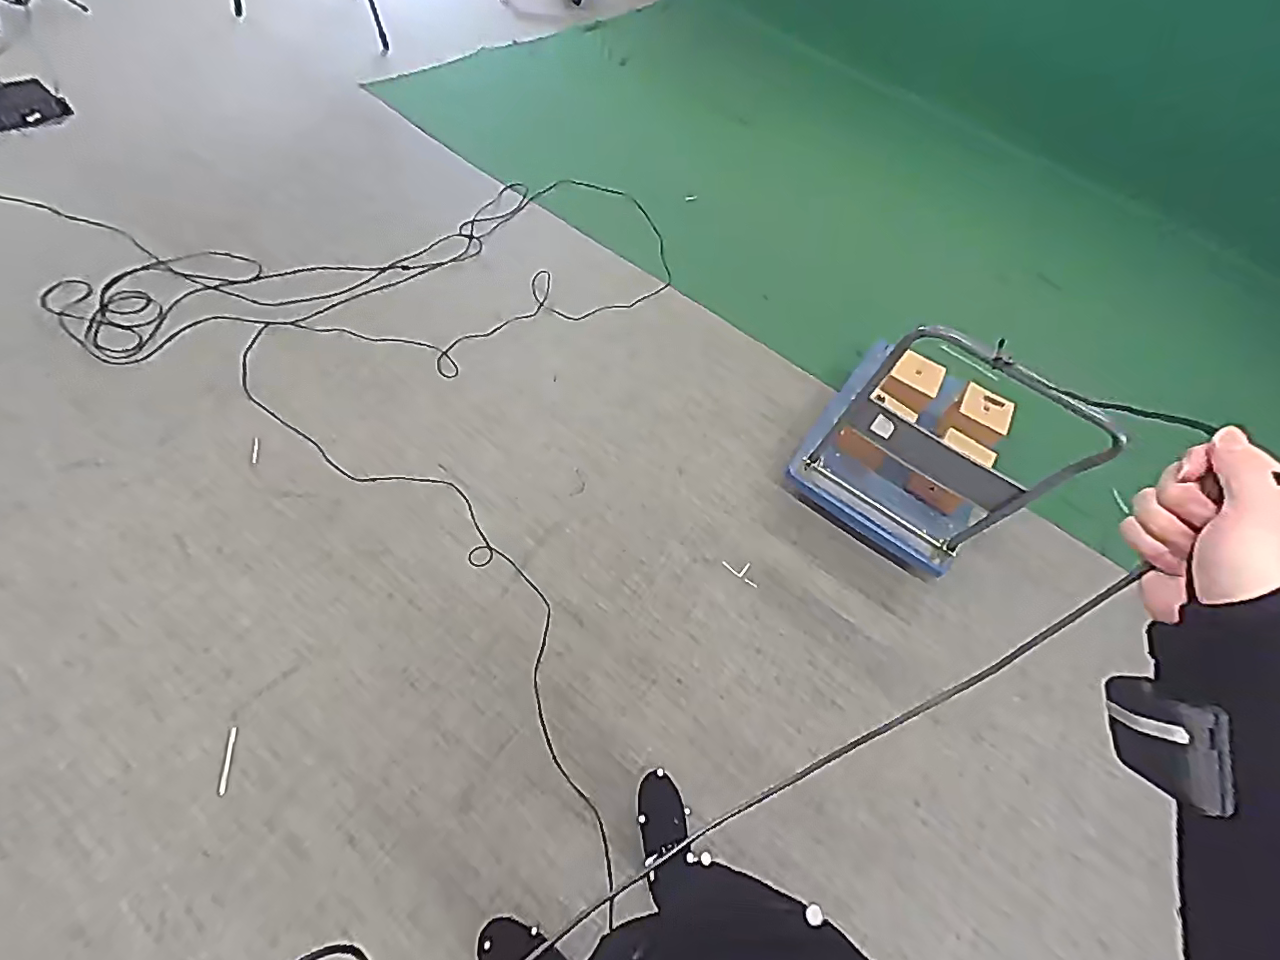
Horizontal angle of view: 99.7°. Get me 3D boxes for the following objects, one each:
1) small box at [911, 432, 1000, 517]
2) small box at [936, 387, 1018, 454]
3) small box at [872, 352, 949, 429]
[{"bbox_3d":[1.016,-0.015,1.753,0.168,0.176,0.179,36,59,13],"label":"small box"},{"bbox_3d":[1.173,-0.186,1.891,0.168,0.176,0.179,31,59,11],"label":"small box"},{"bbox_3d":[0.961,-0.315,1.936,0.168,0.176,0.179,32,58,10],"label":"small box"}]
